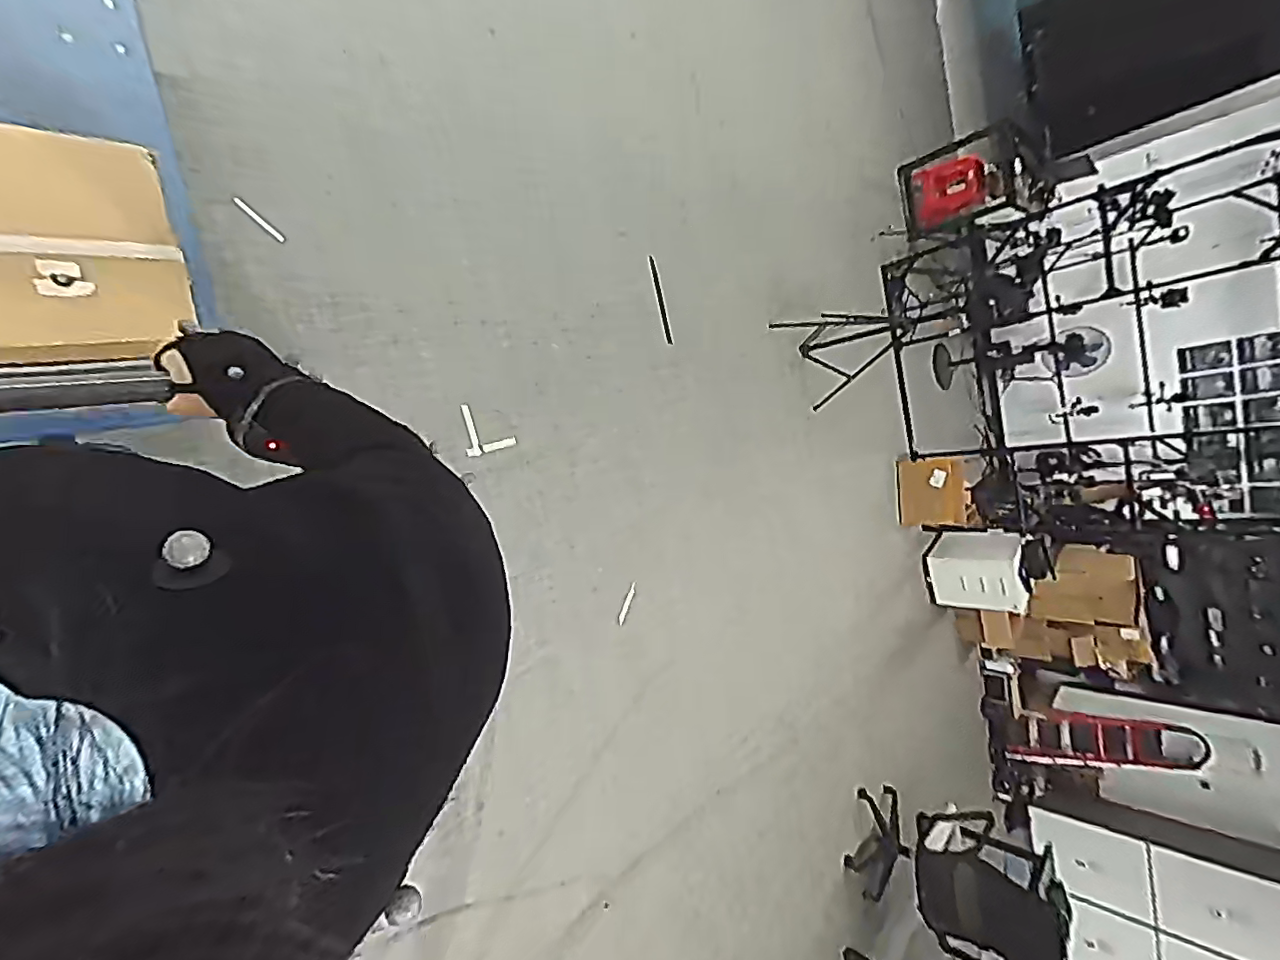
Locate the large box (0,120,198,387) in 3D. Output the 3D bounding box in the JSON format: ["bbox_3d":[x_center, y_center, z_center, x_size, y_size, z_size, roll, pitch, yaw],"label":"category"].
[{"bbox_3d":[-0.967,-0.313,0.802,0.408,0.320,0.320,-18,103,-45],"label":"large box"}]
